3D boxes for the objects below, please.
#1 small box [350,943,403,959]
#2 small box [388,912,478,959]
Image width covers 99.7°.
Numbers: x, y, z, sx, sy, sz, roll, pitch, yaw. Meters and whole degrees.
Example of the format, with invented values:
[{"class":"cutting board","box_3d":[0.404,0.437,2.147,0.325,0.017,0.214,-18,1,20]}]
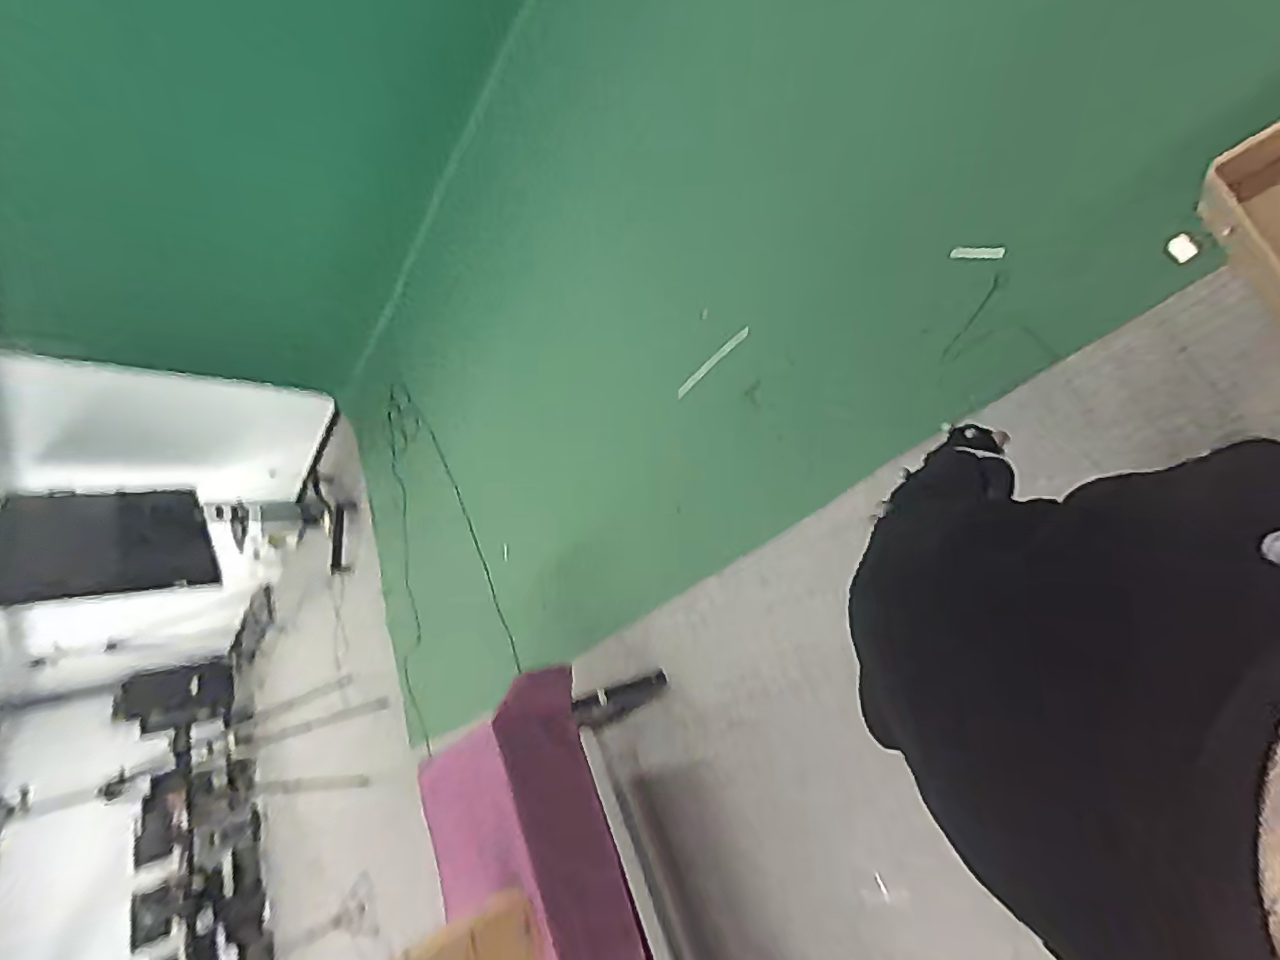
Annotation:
[{"class":"small box","box_3d":[-0.603,1.144,1.153,0.168,0.176,0.179,-36,63,37]},{"class":"small box","box_3d":[-0.489,1.153,1.270,0.179,0.176,0.168,-38,62,39]}]
